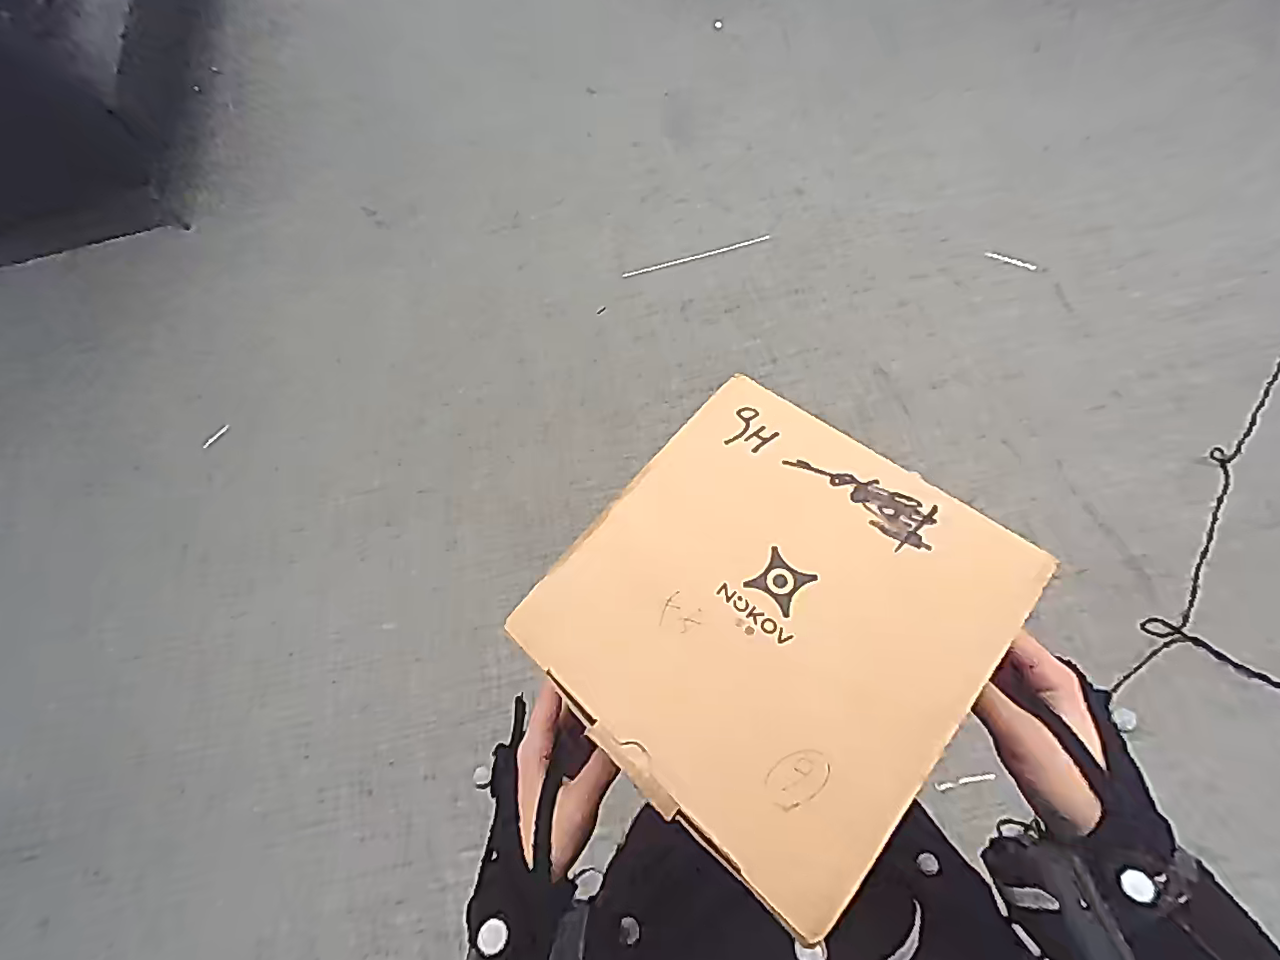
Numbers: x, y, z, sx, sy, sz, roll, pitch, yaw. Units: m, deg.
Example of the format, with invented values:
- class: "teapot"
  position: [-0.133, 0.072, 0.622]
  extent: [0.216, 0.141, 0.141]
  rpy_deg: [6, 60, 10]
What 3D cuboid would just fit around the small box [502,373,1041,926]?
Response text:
- class: "small box"
  position: [0.064, 0.083, 0.303]
  extent: [0.168, 0.176, 0.179]
  rpy_deg: [37, 75, 24]
